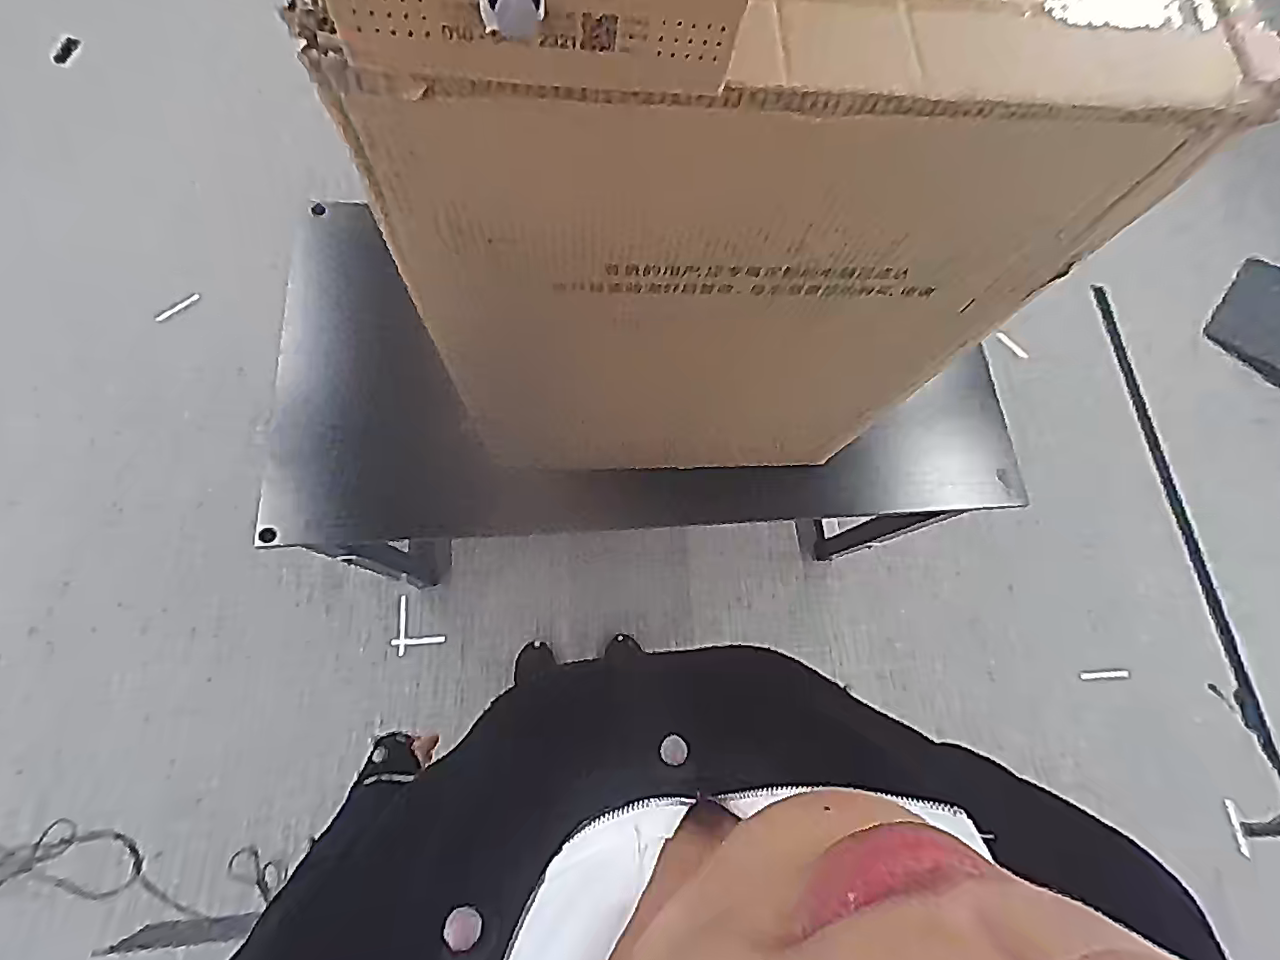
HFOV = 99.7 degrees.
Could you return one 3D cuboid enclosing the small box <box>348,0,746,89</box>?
[{"bbox_3d":[-0.038,-0.282,0.184,0.168,0.176,0.179,-5,76,-9],"label":"small box"}]
